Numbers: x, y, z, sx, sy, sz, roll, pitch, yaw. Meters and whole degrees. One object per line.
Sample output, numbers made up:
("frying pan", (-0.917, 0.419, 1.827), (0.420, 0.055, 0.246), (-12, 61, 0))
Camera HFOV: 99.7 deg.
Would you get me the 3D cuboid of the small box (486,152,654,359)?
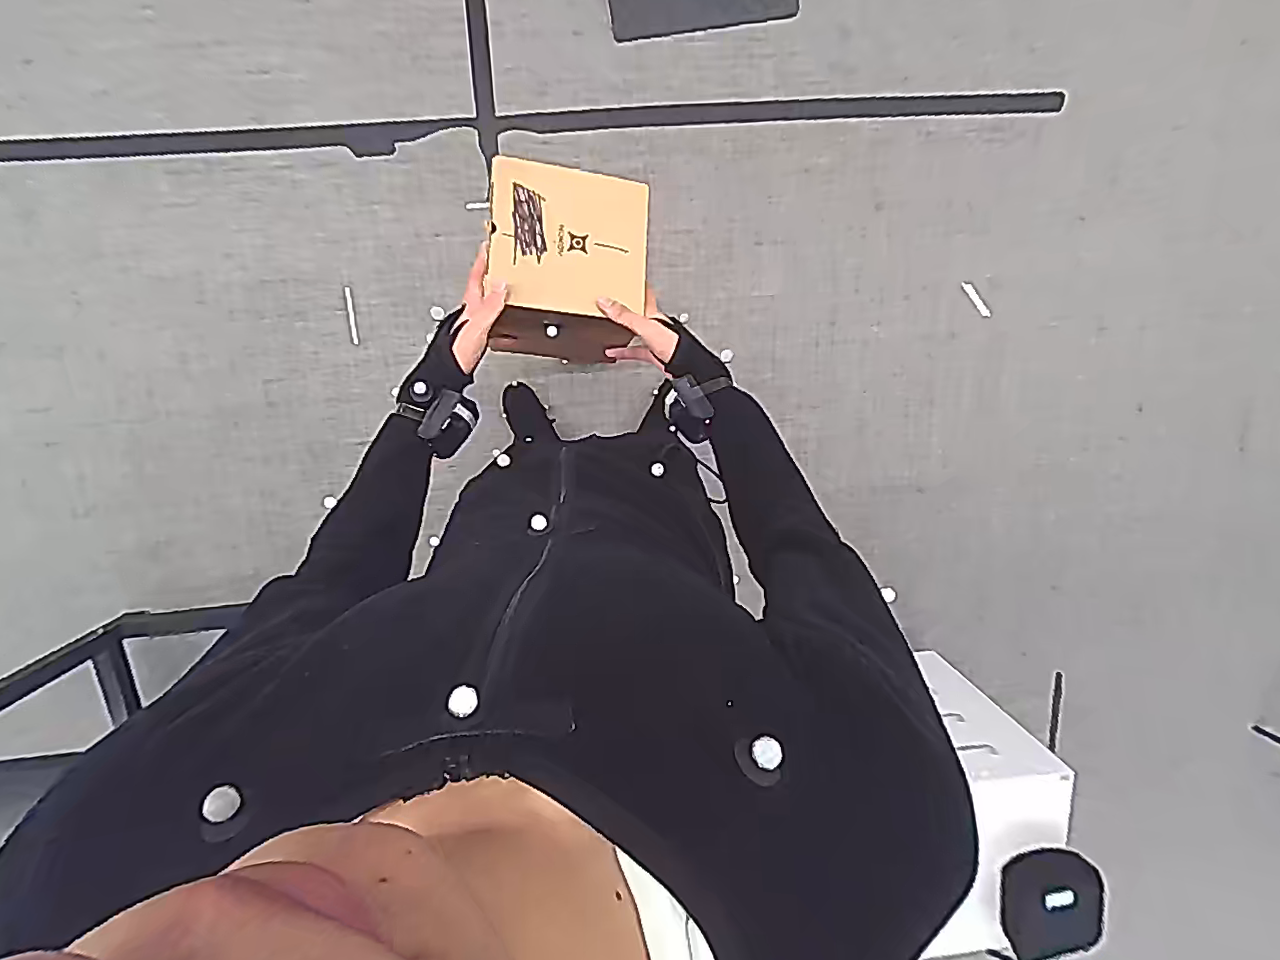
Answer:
("small box", (-0.090, -0.255, 0.660), (0.179, 0.176, 0.168), (3, 85, -14))
